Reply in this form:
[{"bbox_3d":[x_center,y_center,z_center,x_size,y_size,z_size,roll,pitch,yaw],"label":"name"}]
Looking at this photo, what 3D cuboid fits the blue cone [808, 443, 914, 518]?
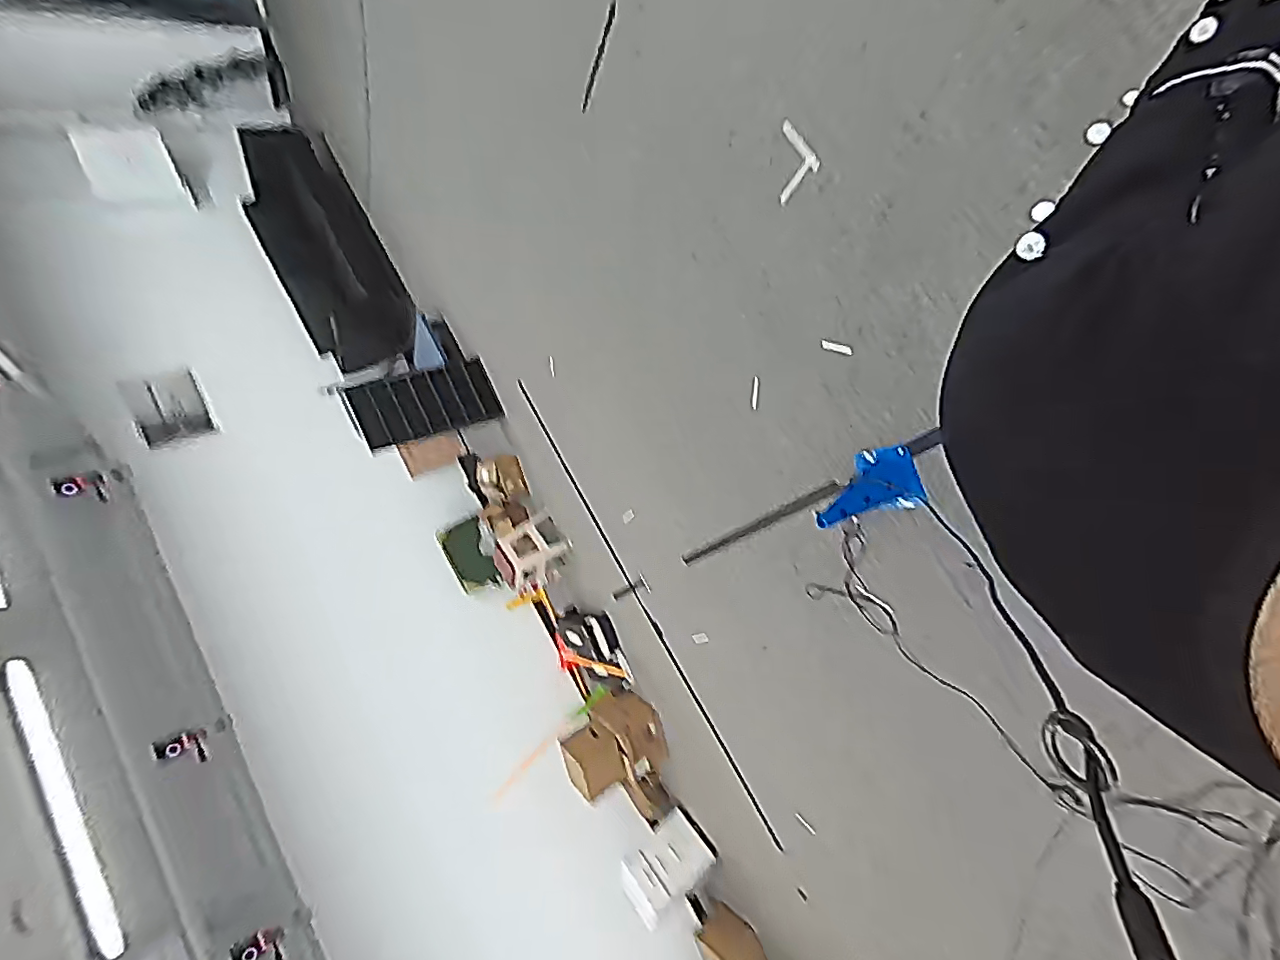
[{"bbox_3d":[0.636,0.039,1.629,0.193,0.380,0.192,-12,100,58],"label":"blue cone"}]
